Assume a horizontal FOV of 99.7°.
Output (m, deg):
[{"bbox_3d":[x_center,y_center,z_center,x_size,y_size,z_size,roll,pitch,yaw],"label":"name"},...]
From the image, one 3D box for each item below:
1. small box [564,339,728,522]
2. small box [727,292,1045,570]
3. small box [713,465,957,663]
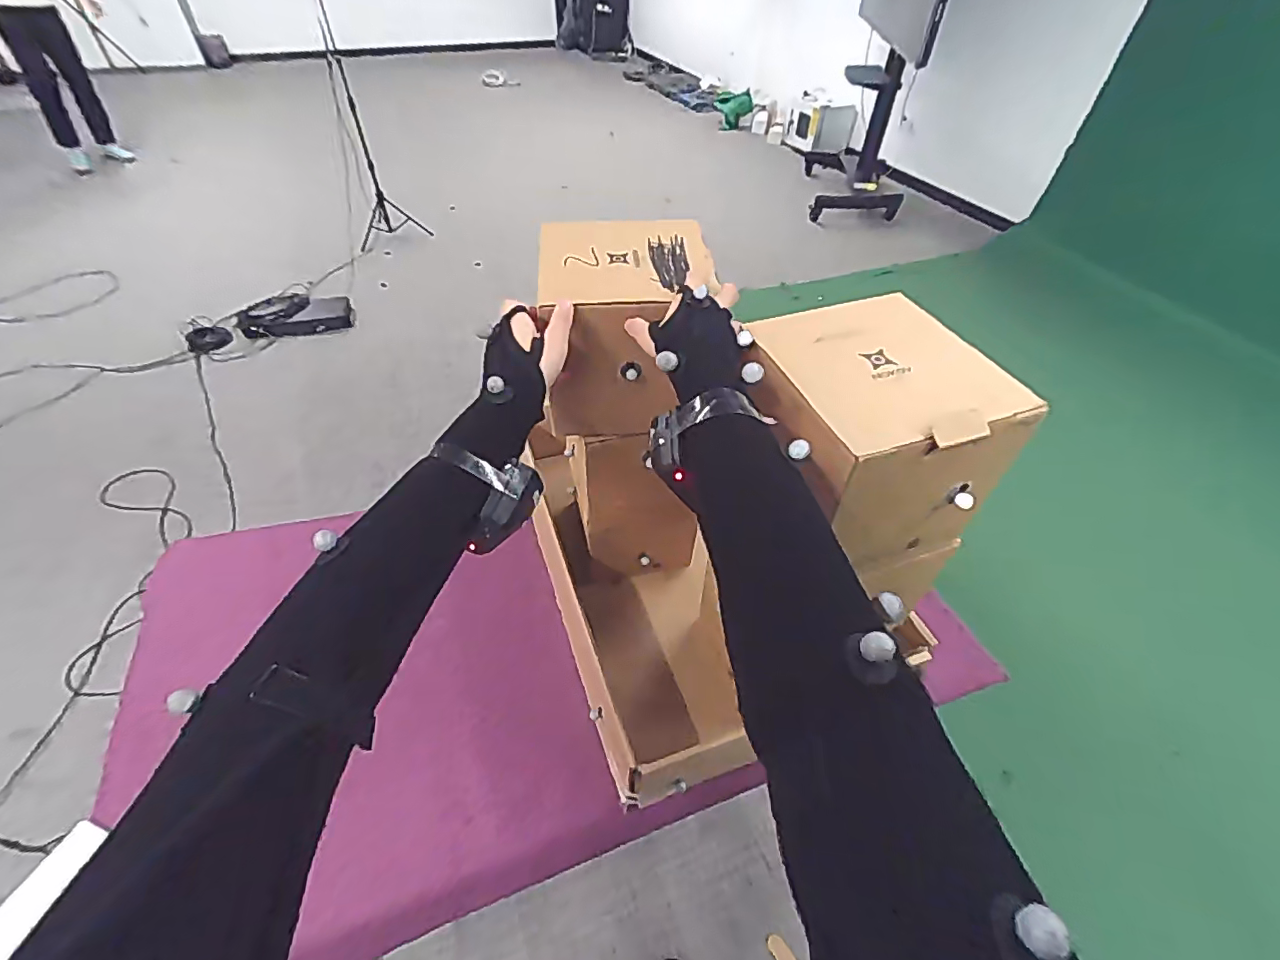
[{"bbox_3d":[-0.001,-0.065,0.731,0.179,0.176,0.168,-11,51,-10],"label":"small box"},{"bbox_3d":[0.191,-0.039,0.485,0.168,0.176,0.179,-14,48,-12],"label":"small box"},{"bbox_3d":[0.195,0.075,0.601,0.179,0.176,0.168,-15,49,-12],"label":"small box"}]
